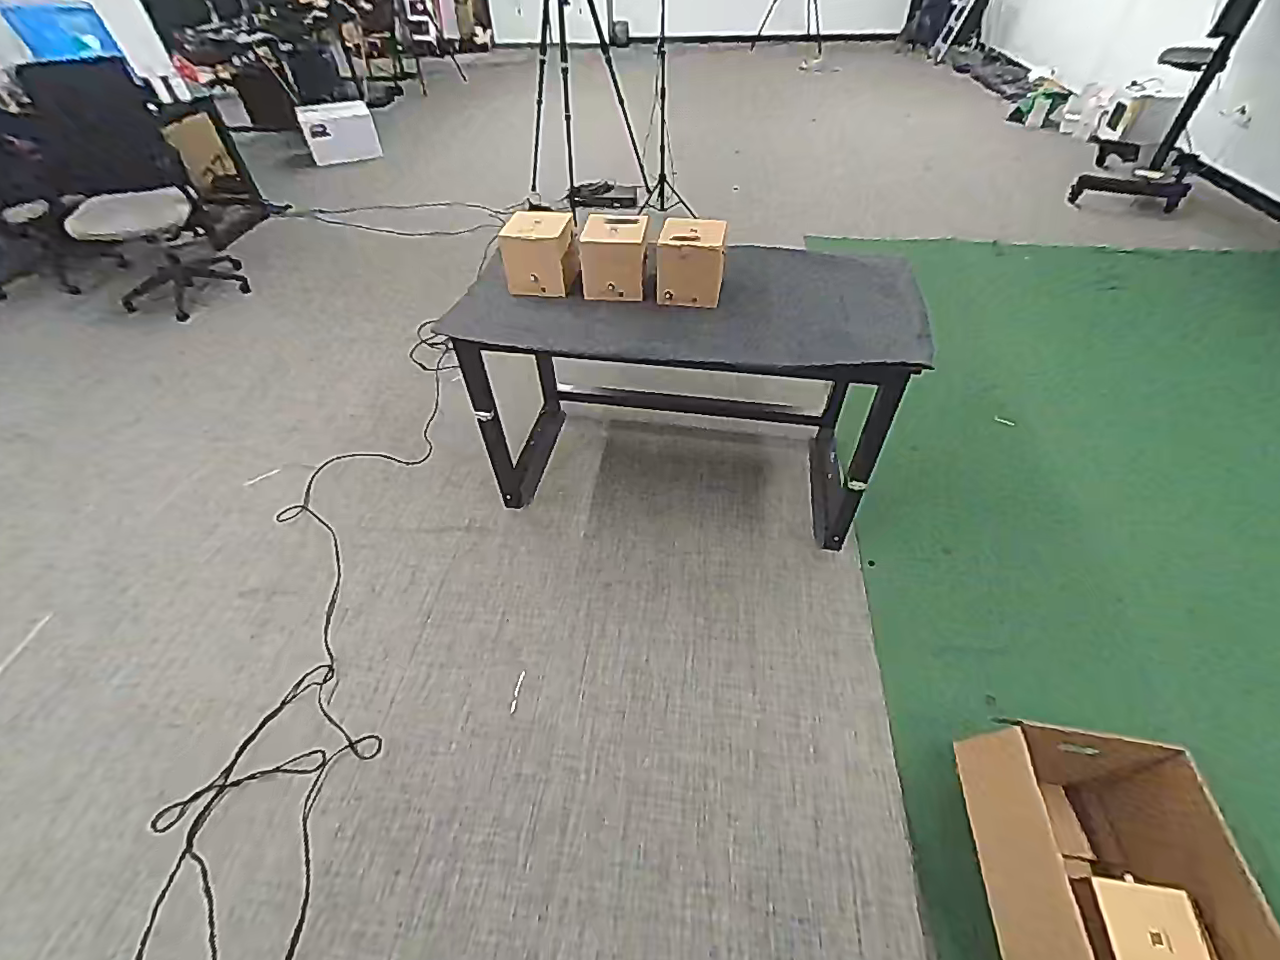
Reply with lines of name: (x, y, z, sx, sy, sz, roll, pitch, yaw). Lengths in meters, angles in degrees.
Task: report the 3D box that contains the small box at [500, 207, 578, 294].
small box: (-0.276, -0.646, 1.522, 0.168, 0.176, 0.179, 5, 47, 7)
